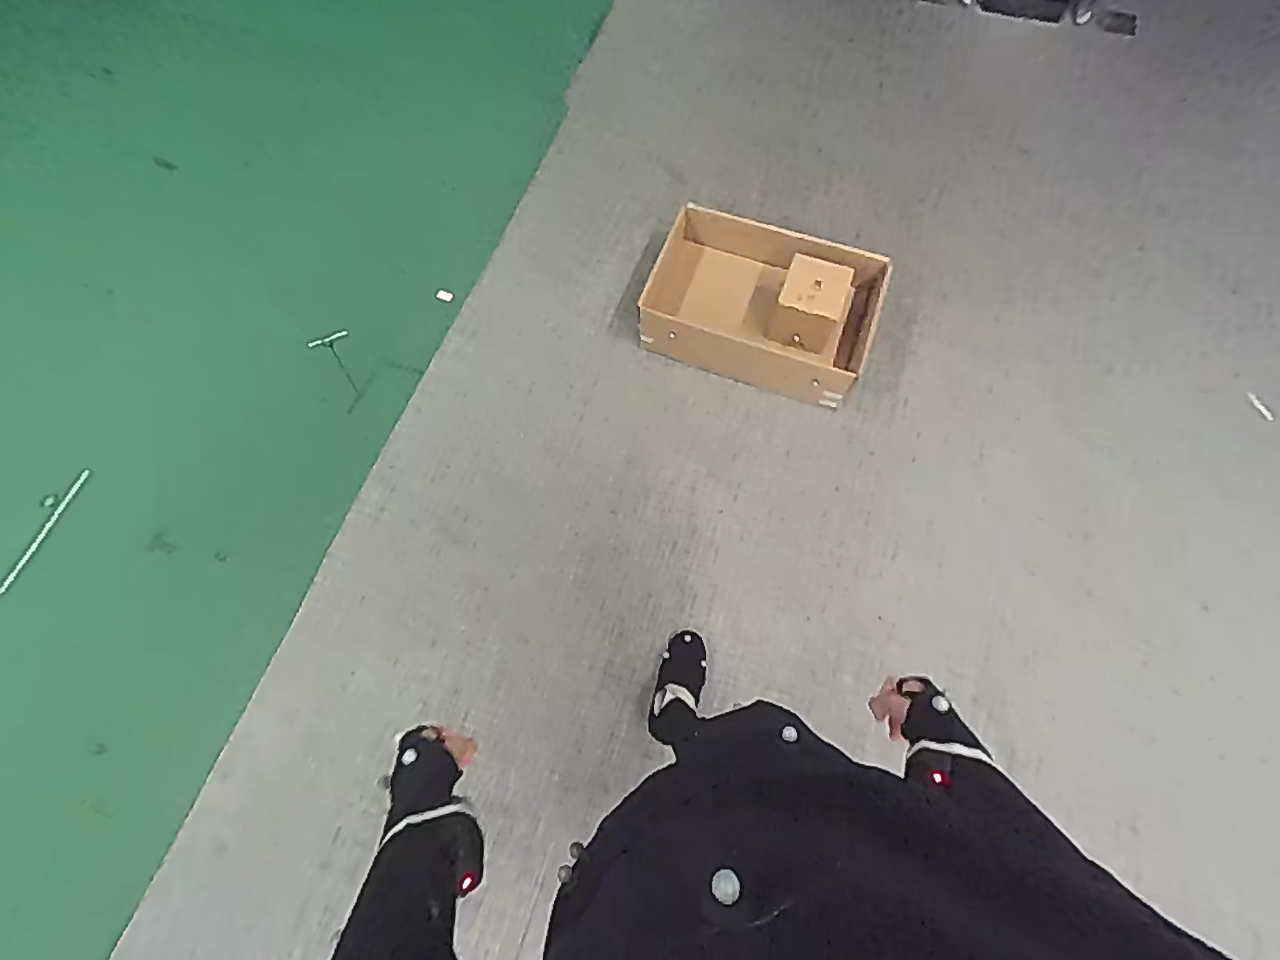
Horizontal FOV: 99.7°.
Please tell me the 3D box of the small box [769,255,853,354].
[{"bbox_3d":[0.471,-0.486,1.515,0.168,0.176,0.179,19,73,10],"label":"small box"}]
